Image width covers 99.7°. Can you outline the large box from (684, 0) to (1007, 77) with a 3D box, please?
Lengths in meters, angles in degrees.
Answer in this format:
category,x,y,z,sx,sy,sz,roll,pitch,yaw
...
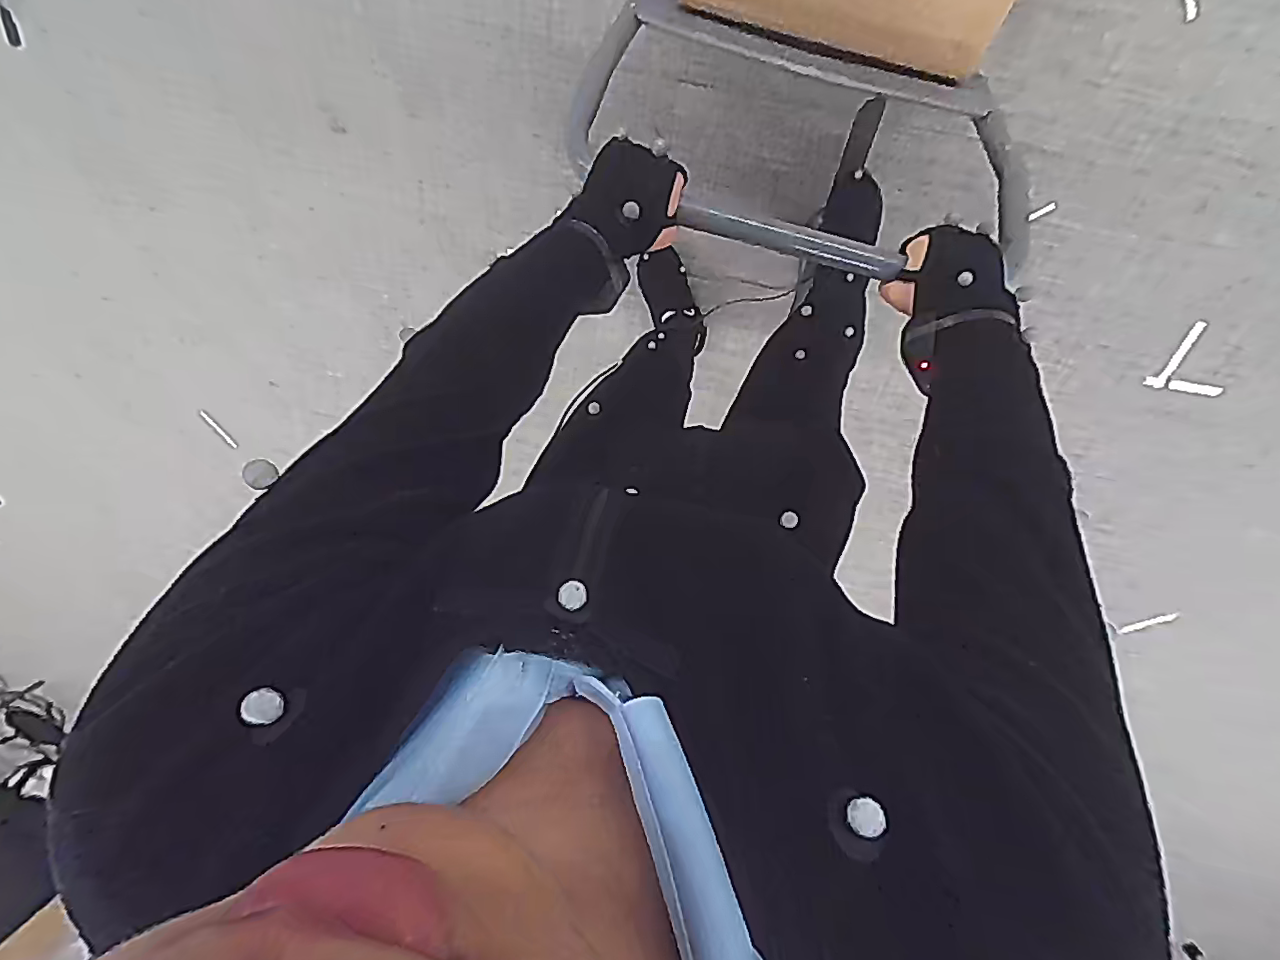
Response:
category,x,y,z,sx,sy,sz,roll,pitch,yaw
large box,0.295,-0.793,0.708,0.408,0.320,0.320,13,141,-1
